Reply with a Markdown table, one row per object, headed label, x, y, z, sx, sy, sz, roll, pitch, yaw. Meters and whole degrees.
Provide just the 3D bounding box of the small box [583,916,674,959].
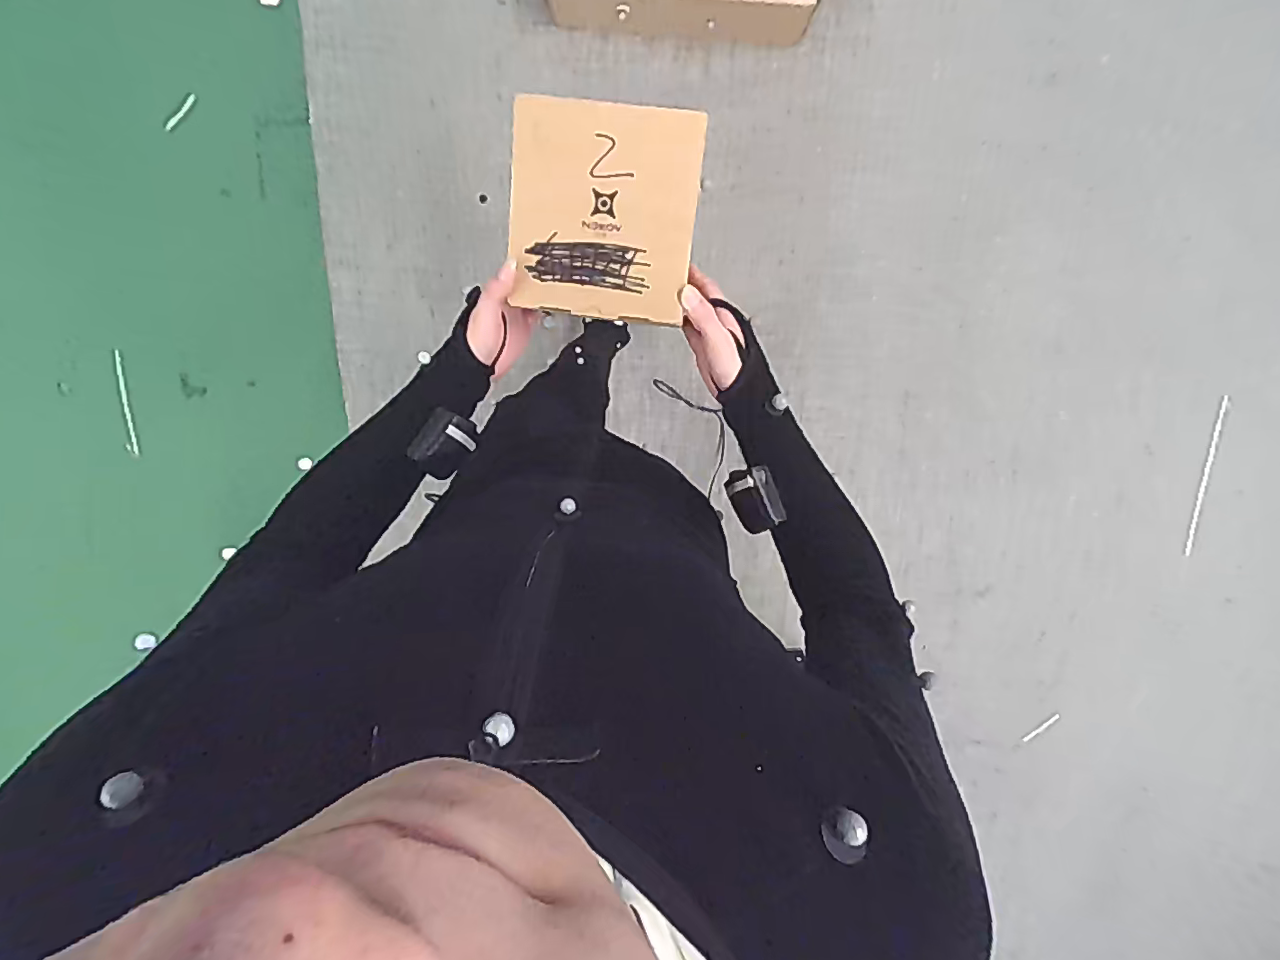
| label | x | y | z | sx | sy | sz | roll | pitch | yaw |
| --- | --- | --- | --- | --- | --- | --- | --- | --- | --- |
| small box | -0.020 | 0.955 | 0.994 | 0.168 | 0.176 | 0.179 | -1 | 103 | 1 |
